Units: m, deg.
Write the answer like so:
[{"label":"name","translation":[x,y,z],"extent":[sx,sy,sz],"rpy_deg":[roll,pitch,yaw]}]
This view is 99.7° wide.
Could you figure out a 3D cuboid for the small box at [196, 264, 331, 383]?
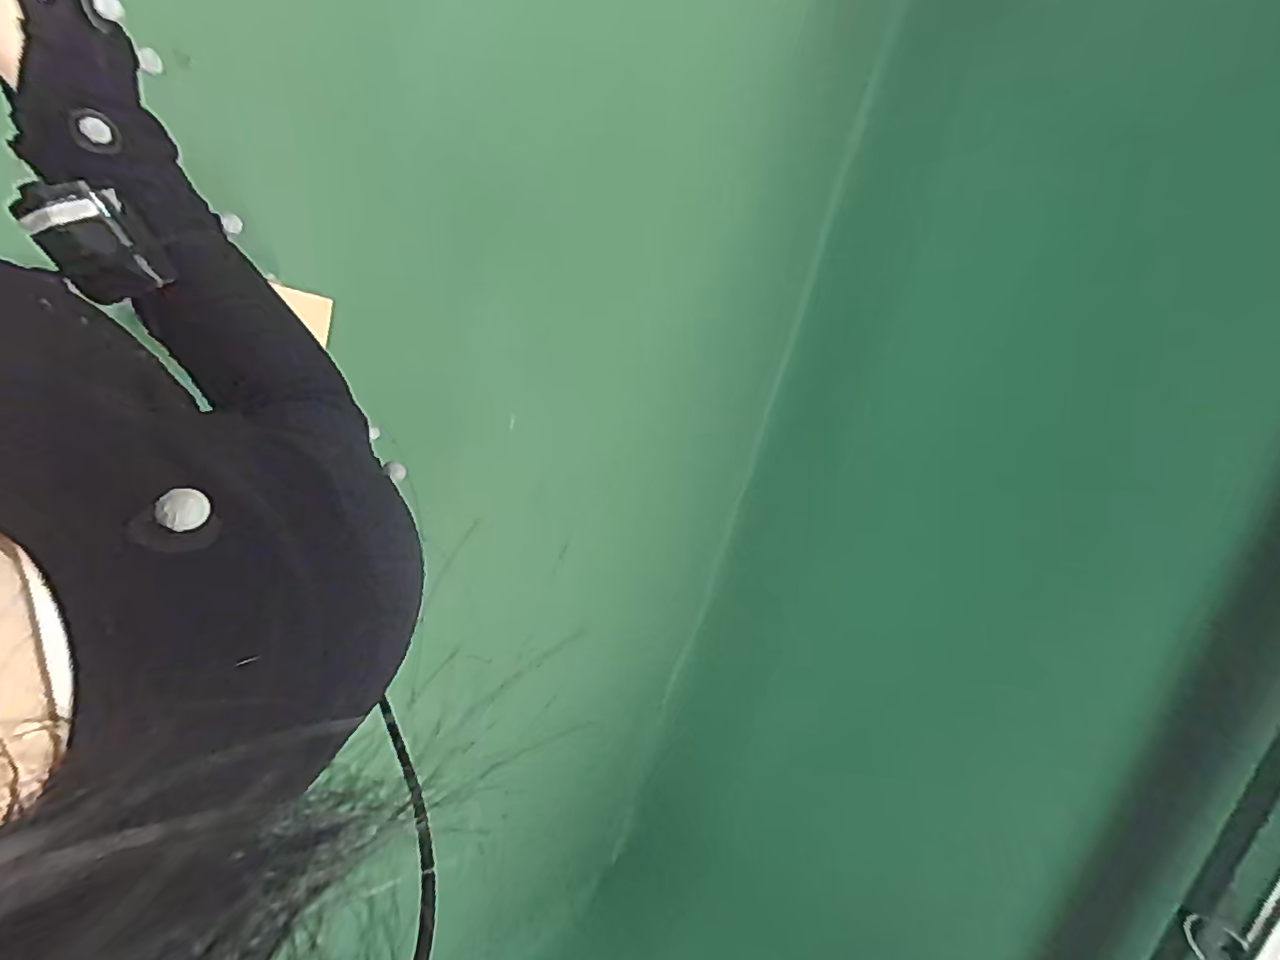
[{"label":"small box","translation":[-0.728,-0.300,1.042],"extent":[0.168,0.176,0.179],"rpy_deg":[0,108,-53]}]
